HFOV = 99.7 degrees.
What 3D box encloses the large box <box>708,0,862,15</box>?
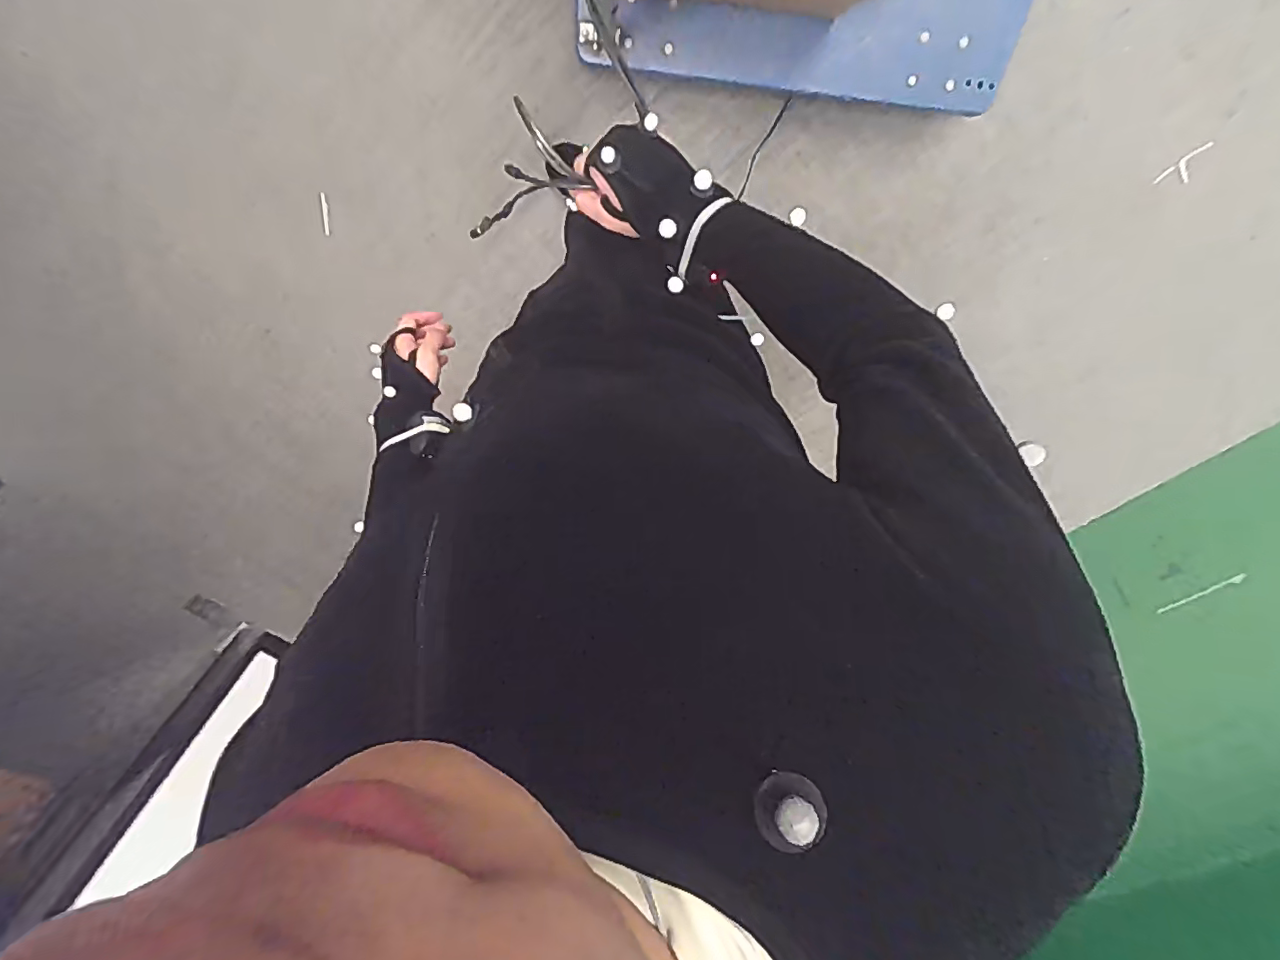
[{"bbox_3d":[0.203,-0.948,0.813,0.408,0.320,0.320,4,122,-4],"label":"large box"}]
